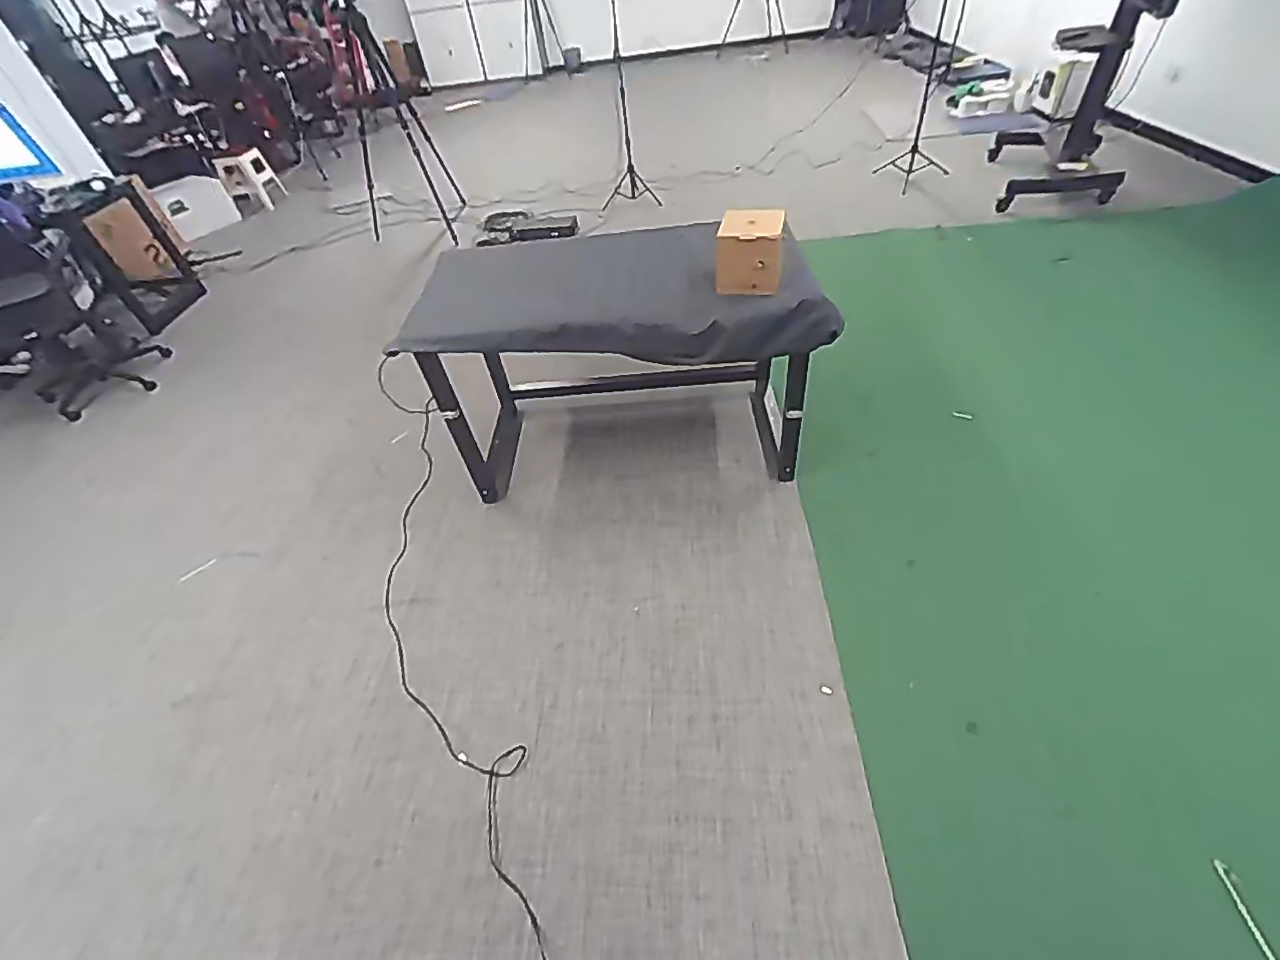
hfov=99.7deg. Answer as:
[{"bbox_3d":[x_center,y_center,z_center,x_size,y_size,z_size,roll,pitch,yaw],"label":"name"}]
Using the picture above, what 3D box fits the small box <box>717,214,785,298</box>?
[{"bbox_3d":[0.312,-0.625,1.514,0.168,0.176,0.179,6,45,14],"label":"small box"}]
